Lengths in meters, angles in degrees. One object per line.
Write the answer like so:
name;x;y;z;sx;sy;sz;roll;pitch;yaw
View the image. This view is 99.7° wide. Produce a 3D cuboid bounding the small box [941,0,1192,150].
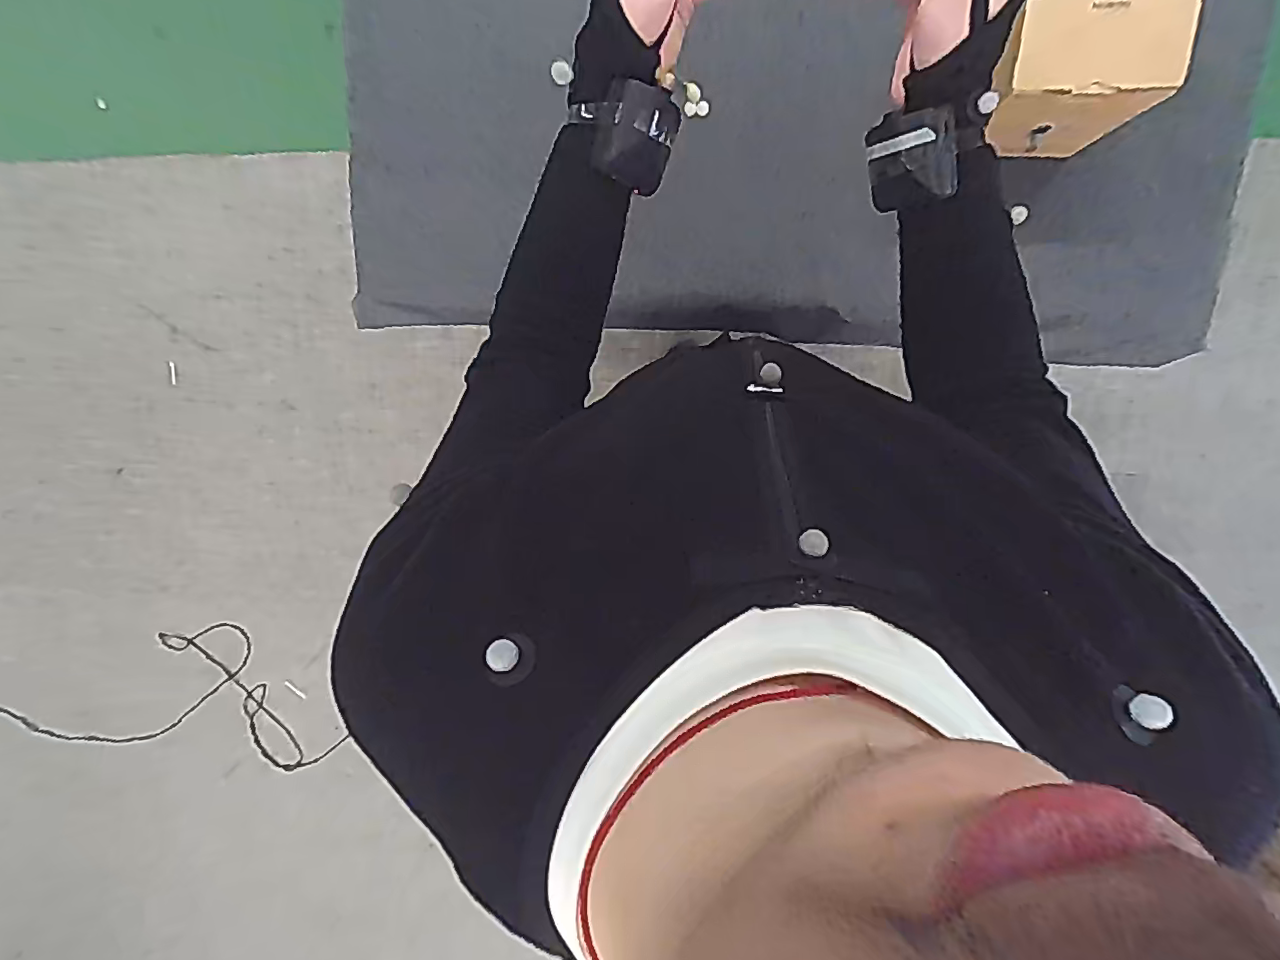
small box;0.474;-0.502;0.622;0.168;0.176;0.179;3;102;5
